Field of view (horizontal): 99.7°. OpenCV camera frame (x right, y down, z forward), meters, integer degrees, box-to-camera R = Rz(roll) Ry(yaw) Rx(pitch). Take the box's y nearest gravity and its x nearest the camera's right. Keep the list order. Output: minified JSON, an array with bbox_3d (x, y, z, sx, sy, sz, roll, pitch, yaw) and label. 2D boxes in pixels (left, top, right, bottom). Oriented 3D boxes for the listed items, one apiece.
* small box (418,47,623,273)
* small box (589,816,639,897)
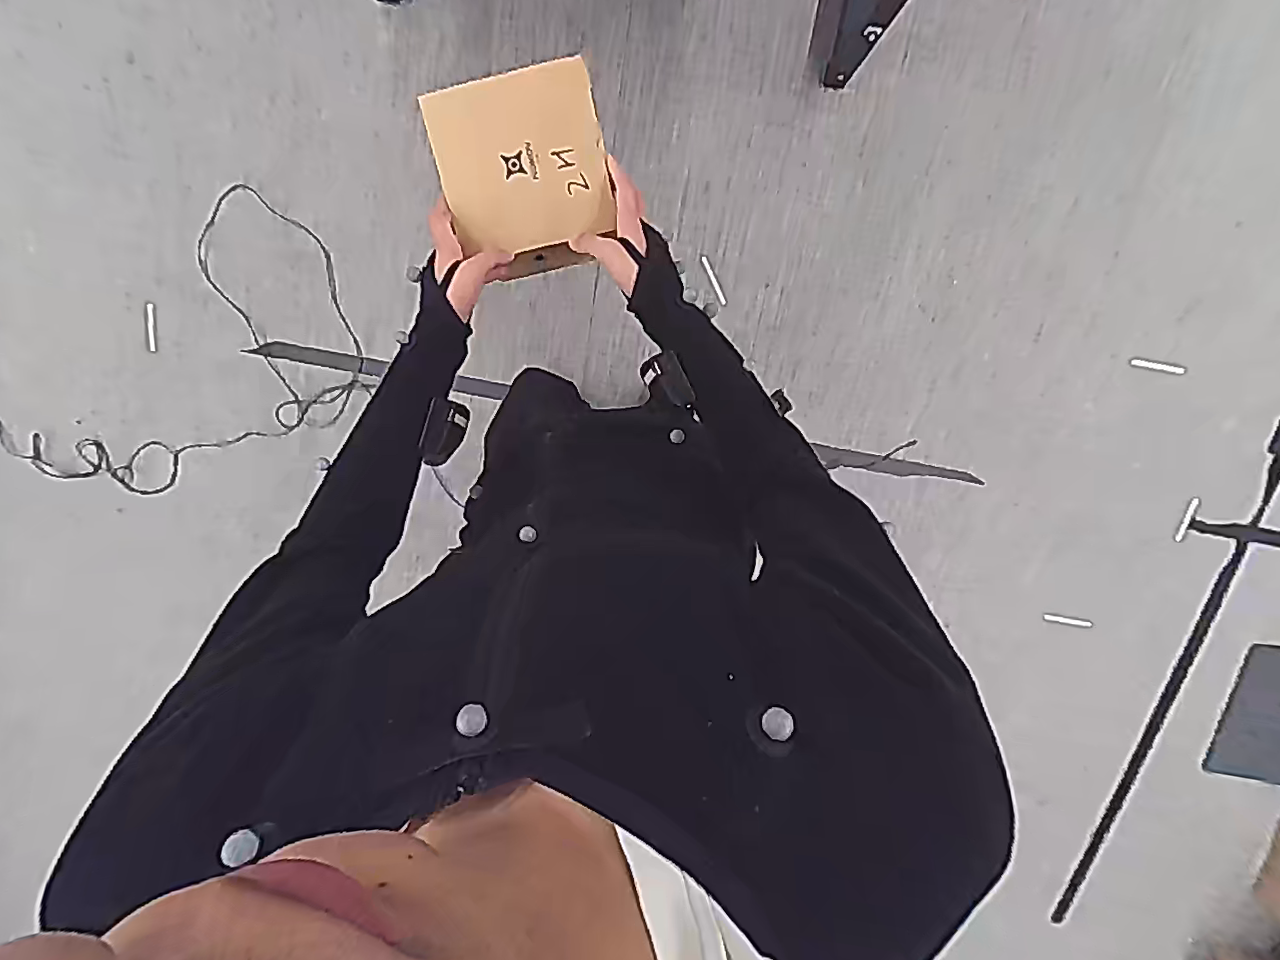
[{"bbox_3d":[-0.120,-0.346,0.624,0.179,0.176,0.168,-12,105,2],"label":"small box"},{"bbox_3d":[-0.087,1.341,1.928,0.168,0.176,0.179,-1,105,1],"label":"small box"}]
